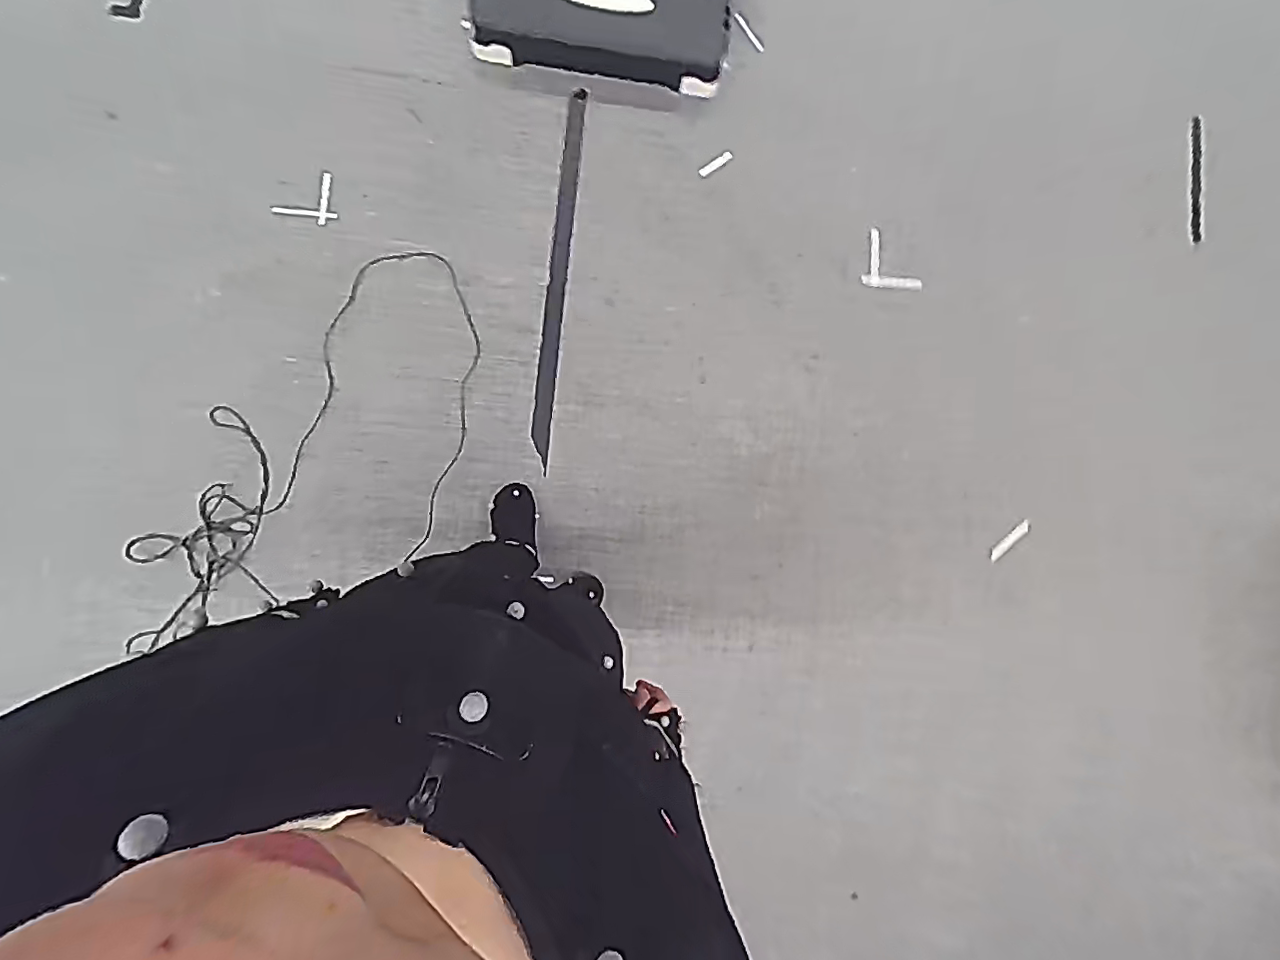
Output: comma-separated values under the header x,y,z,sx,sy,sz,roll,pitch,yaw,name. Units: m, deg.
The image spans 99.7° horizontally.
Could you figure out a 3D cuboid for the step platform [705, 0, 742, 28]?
x,y,z,sx,sy,sz,roll,pitch,yaw,name
-0.027,-1.470,1.424,0.684,0.204,0.286,10,85,-5,step platform
